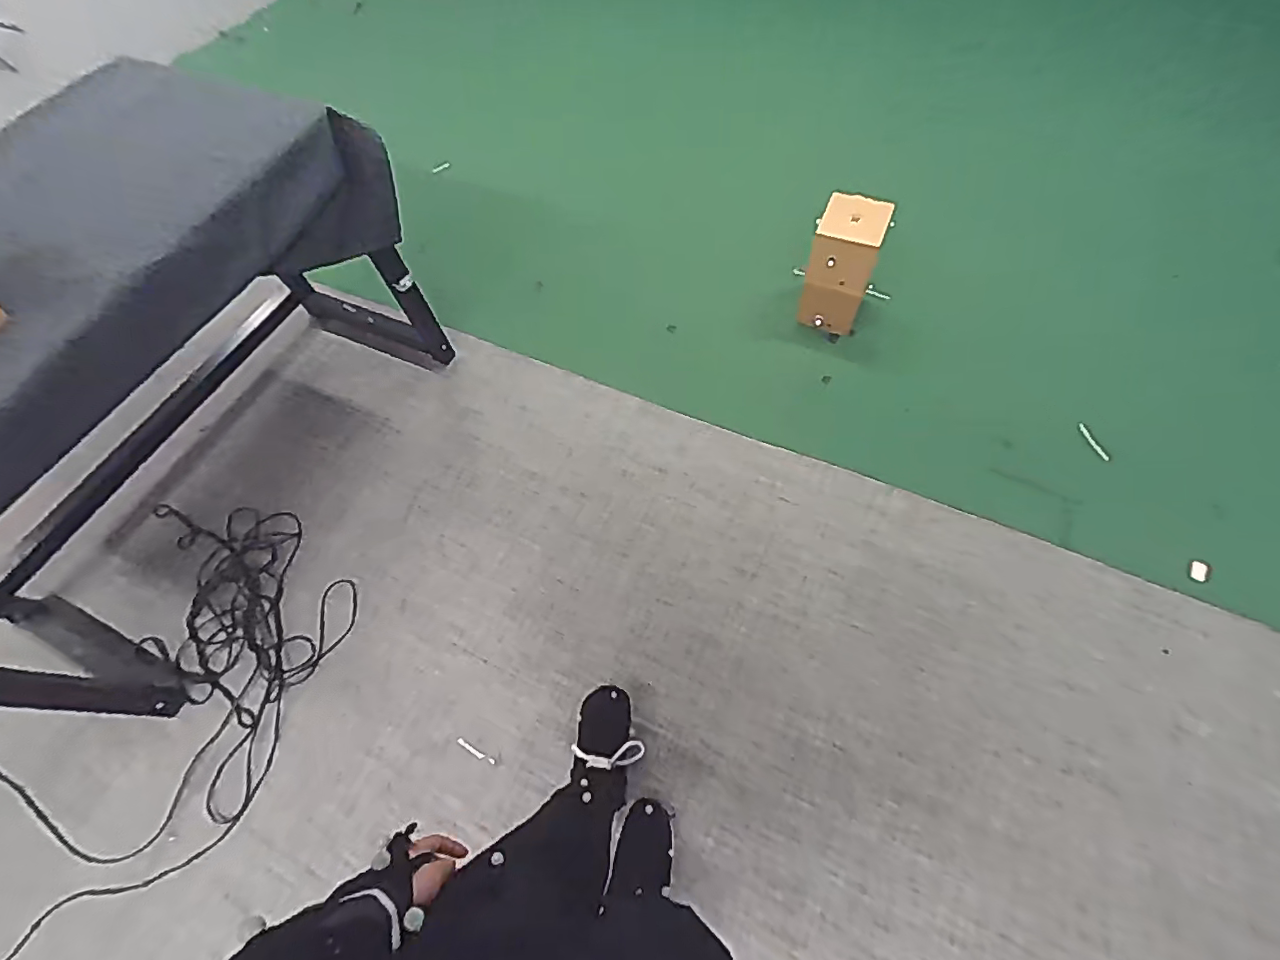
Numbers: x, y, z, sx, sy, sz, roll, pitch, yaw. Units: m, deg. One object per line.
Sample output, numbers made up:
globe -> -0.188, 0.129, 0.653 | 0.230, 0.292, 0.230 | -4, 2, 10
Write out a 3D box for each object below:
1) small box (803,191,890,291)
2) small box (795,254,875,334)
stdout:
small box -> 0.556, -0.647, 1.476 | 0.168, 0.176, 0.179 | 20, 66, 14
small box -> 0.577, -0.575, 1.621 | 0.168, 0.176, 0.179 | 21, 67, 15
